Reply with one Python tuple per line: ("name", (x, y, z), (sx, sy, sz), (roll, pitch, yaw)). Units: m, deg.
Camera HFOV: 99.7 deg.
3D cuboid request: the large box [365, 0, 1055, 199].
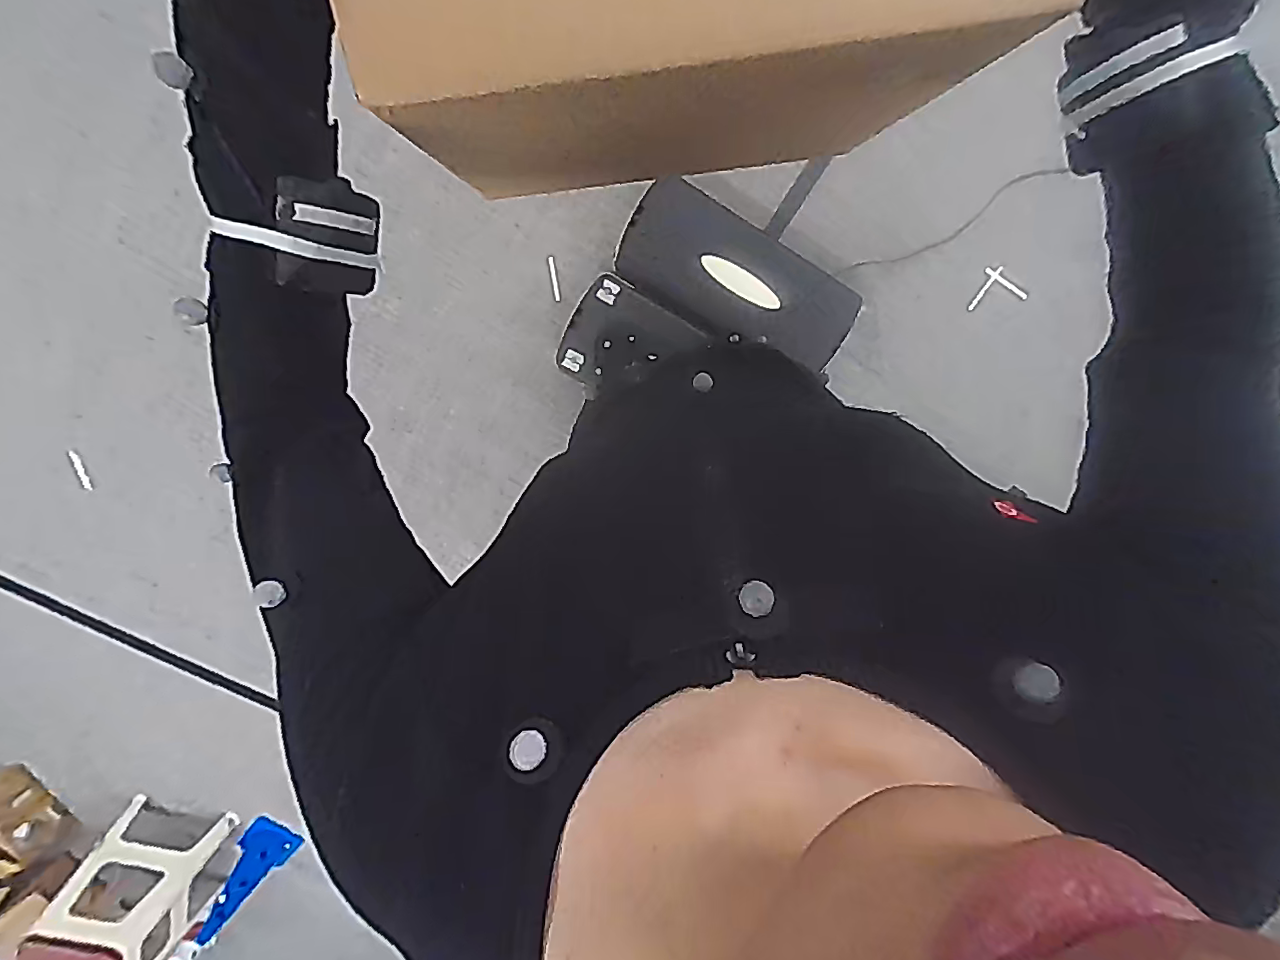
("large box", (0.020, -0.434, 0.406), (0.408, 0.320, 0.320), (-8, 109, -1))
